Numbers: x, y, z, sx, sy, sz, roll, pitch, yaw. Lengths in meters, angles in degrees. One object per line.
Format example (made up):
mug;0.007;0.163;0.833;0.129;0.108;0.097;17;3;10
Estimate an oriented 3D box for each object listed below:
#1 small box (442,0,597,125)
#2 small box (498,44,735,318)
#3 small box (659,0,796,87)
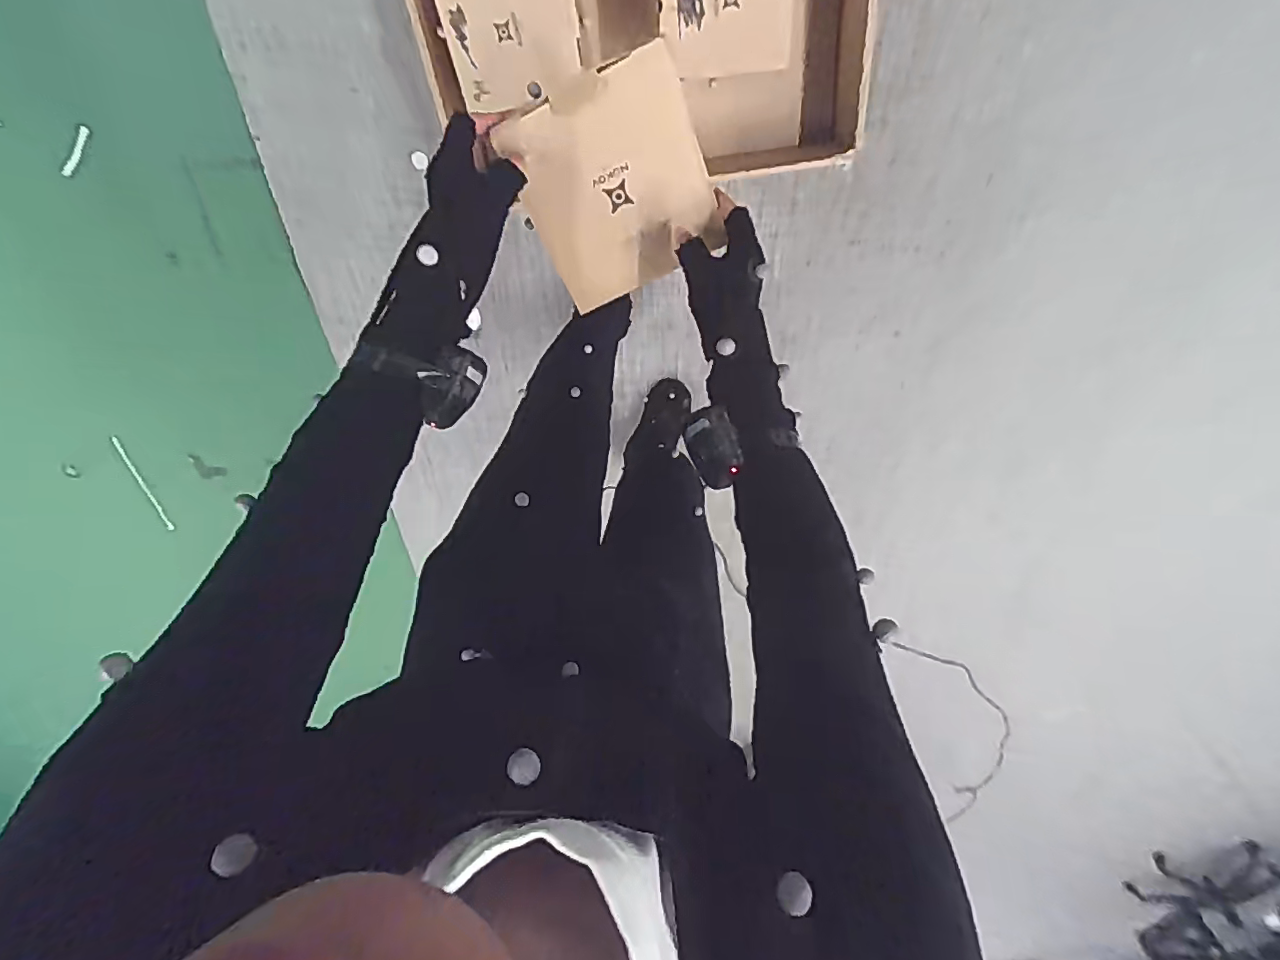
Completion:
small box;-0.162;-0.635;0.787;0.179;0.176;0.168;-8;125;6
small box;-0.021;-0.303;0.554;0.168;0.176;0.179;-22;127;12
small box;0.117;-0.658;0.757;0.179;0.176;0.168;-3;126;6
